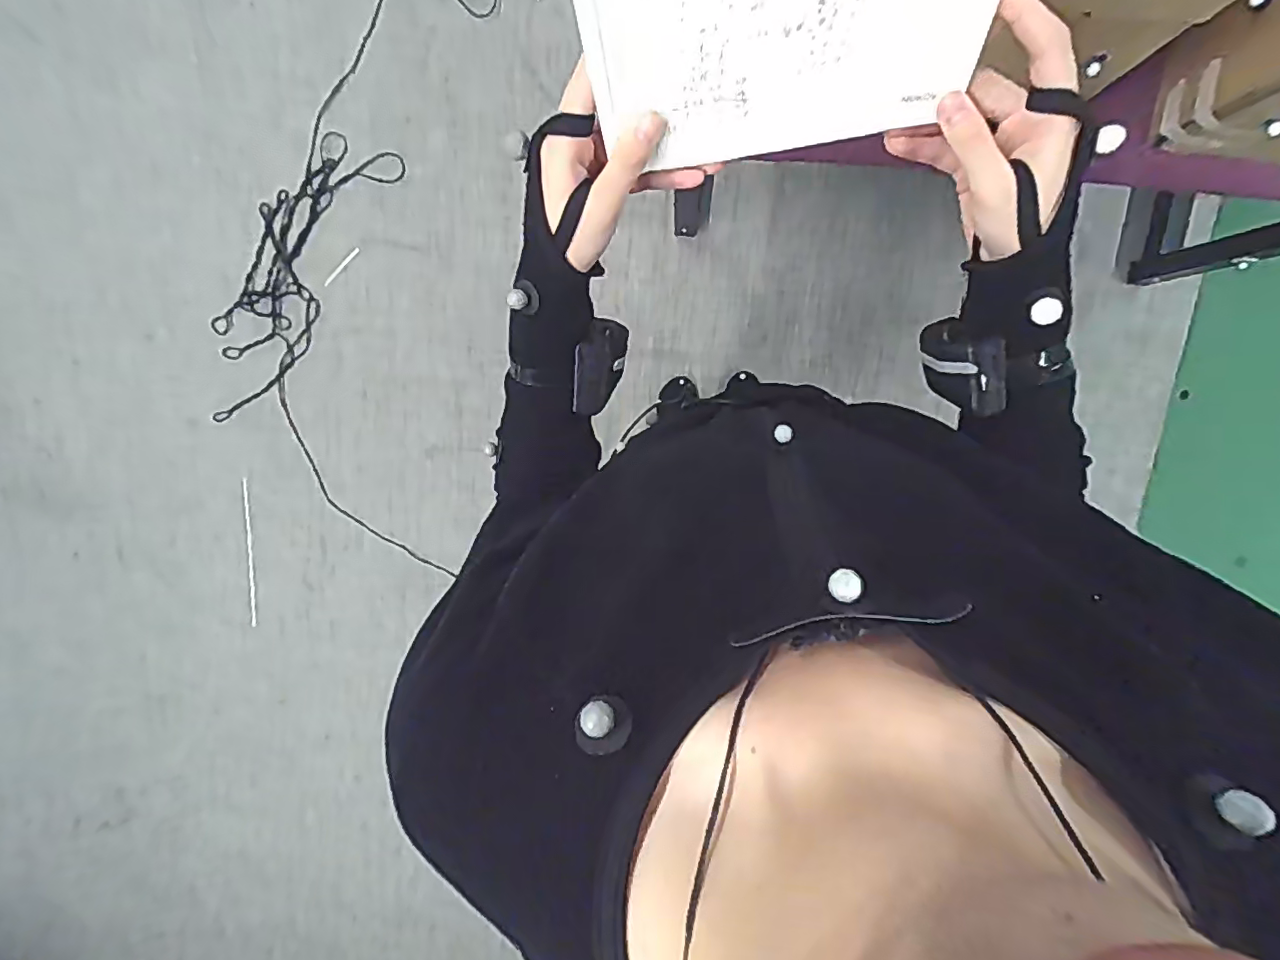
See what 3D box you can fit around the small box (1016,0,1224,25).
[{"bbox_3d":[0.442,-0.500,0.418,0.179,0.176,0.168,8,99,3],"label":"small box"}]
